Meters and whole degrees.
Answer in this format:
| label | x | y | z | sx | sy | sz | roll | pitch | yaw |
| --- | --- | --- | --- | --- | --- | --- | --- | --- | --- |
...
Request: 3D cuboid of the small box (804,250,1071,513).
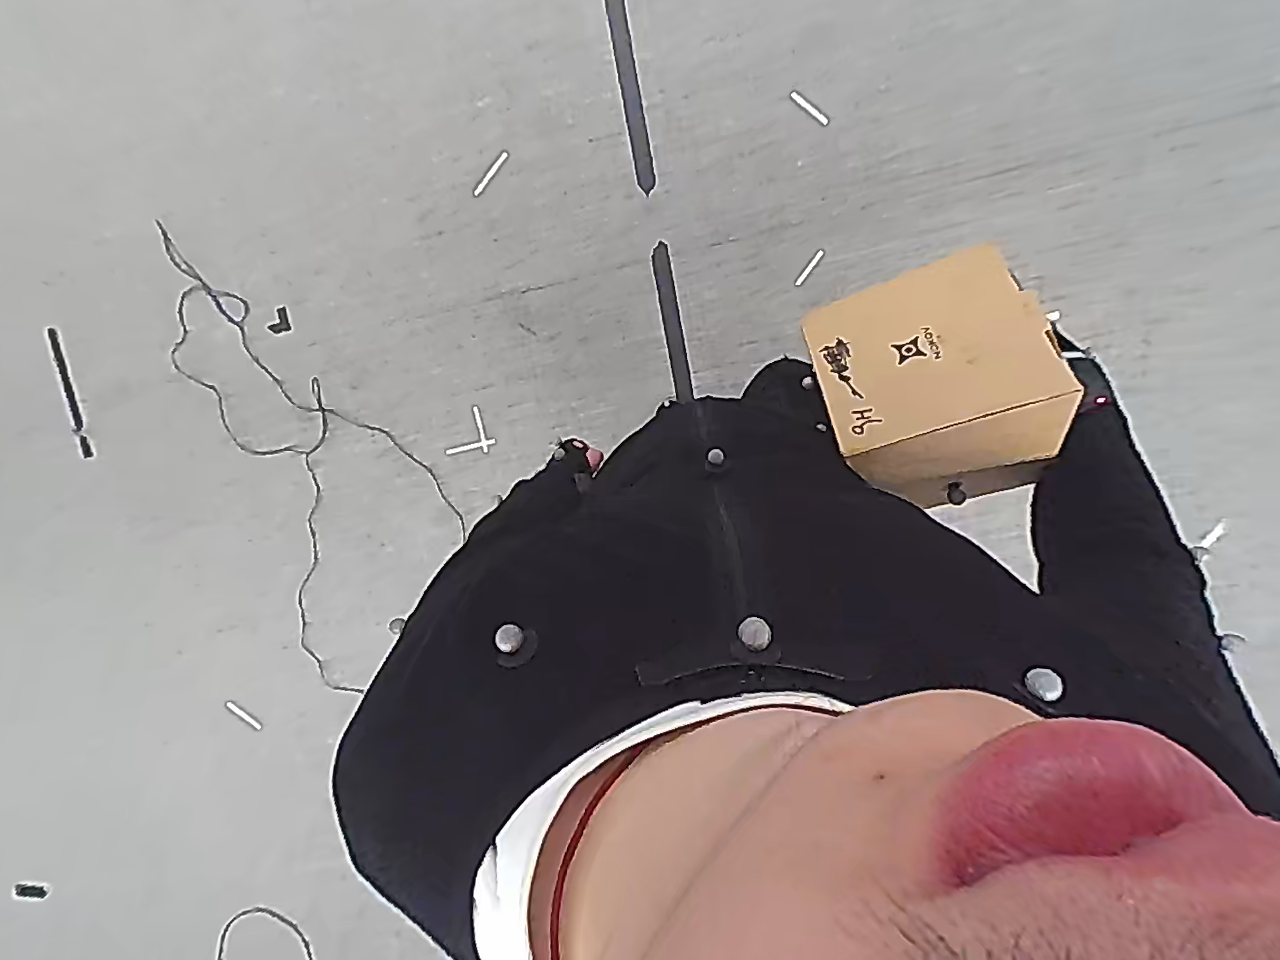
| label | x | y | z | sx | sy | sz | roll | pitch | yaw |
| --- | --- | --- | --- | --- | --- | --- | --- | --- | --- |
| small box | 0.282 | -0.085 | 0.546 | 0.179 | 0.176 | 0.168 | -17 | 58 | 20 |
